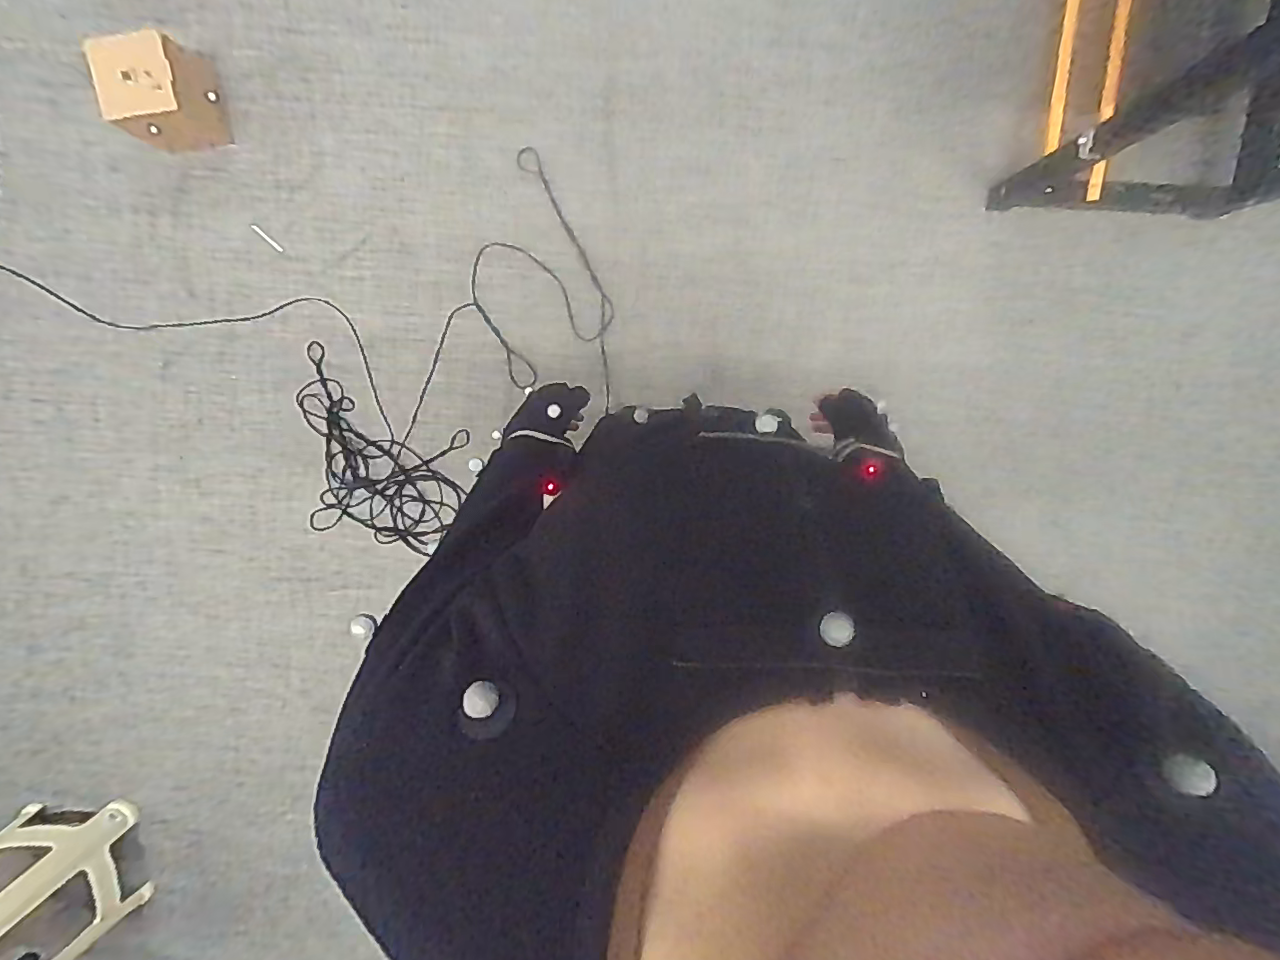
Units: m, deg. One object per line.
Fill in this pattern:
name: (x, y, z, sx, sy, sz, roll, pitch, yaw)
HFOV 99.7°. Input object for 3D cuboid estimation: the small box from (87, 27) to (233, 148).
small box: (-1.116, -0.910, 1.271, 0.179, 0.176, 0.168, -7, 100, 2)
